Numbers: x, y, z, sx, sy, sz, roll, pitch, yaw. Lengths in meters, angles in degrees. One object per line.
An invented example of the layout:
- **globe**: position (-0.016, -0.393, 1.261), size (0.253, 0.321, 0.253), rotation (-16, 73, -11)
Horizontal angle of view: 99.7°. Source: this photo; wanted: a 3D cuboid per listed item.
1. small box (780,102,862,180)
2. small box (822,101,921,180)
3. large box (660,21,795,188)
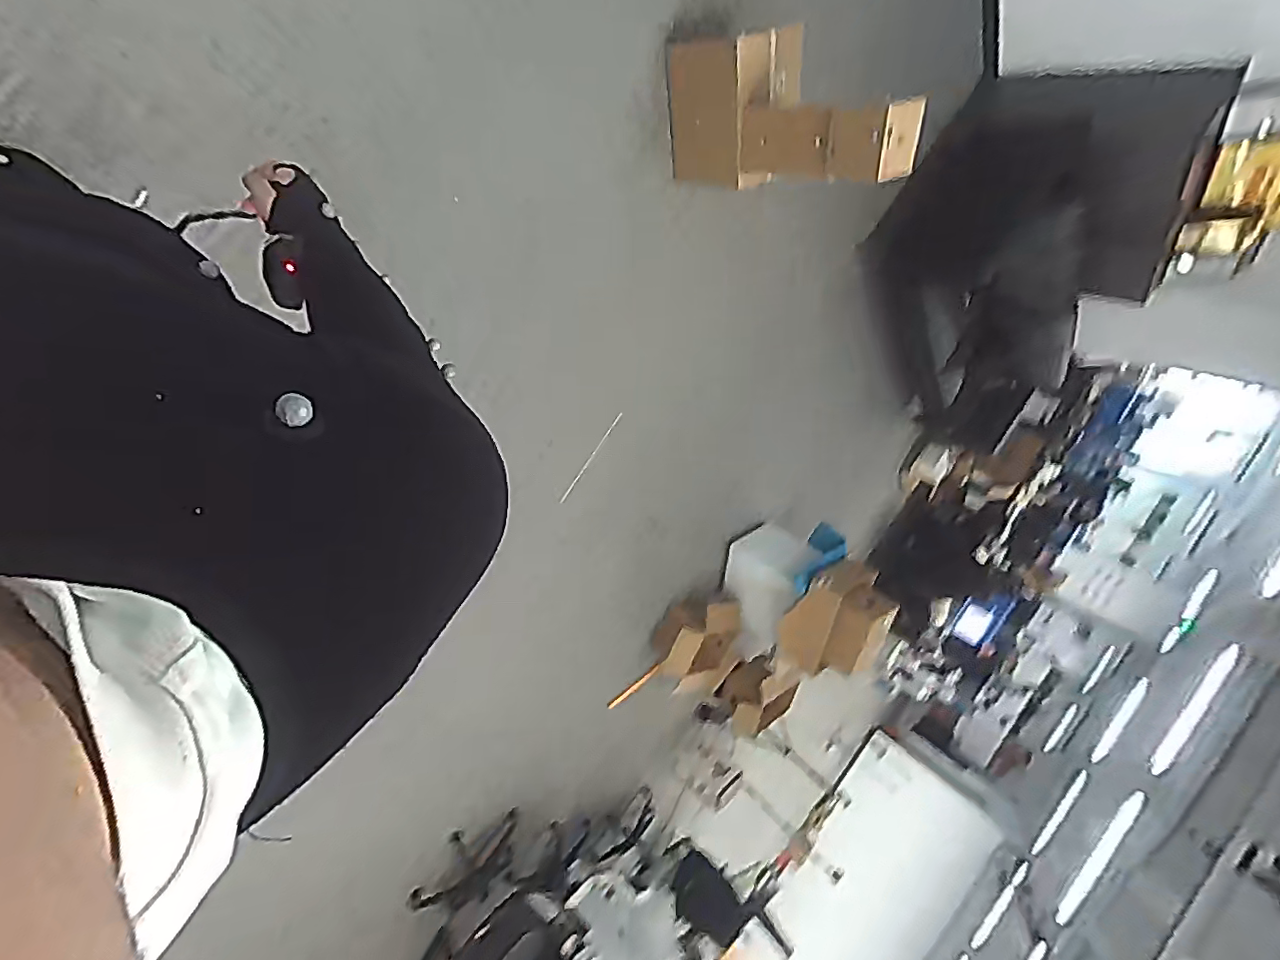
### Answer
- **small box**: position (0.531, -0.997, 1.586), size (0.168, 0.176, 0.179), rotation (-31, 133, -28)
- **small box**: position (0.625, -0.927, 1.471), size (0.179, 0.176, 0.168), rotation (-30, 133, -29)
- **large box**: position (0.299, -1.252, 1.822), size (0.320, 0.320, 0.408), rotation (-35, 136, -27)
